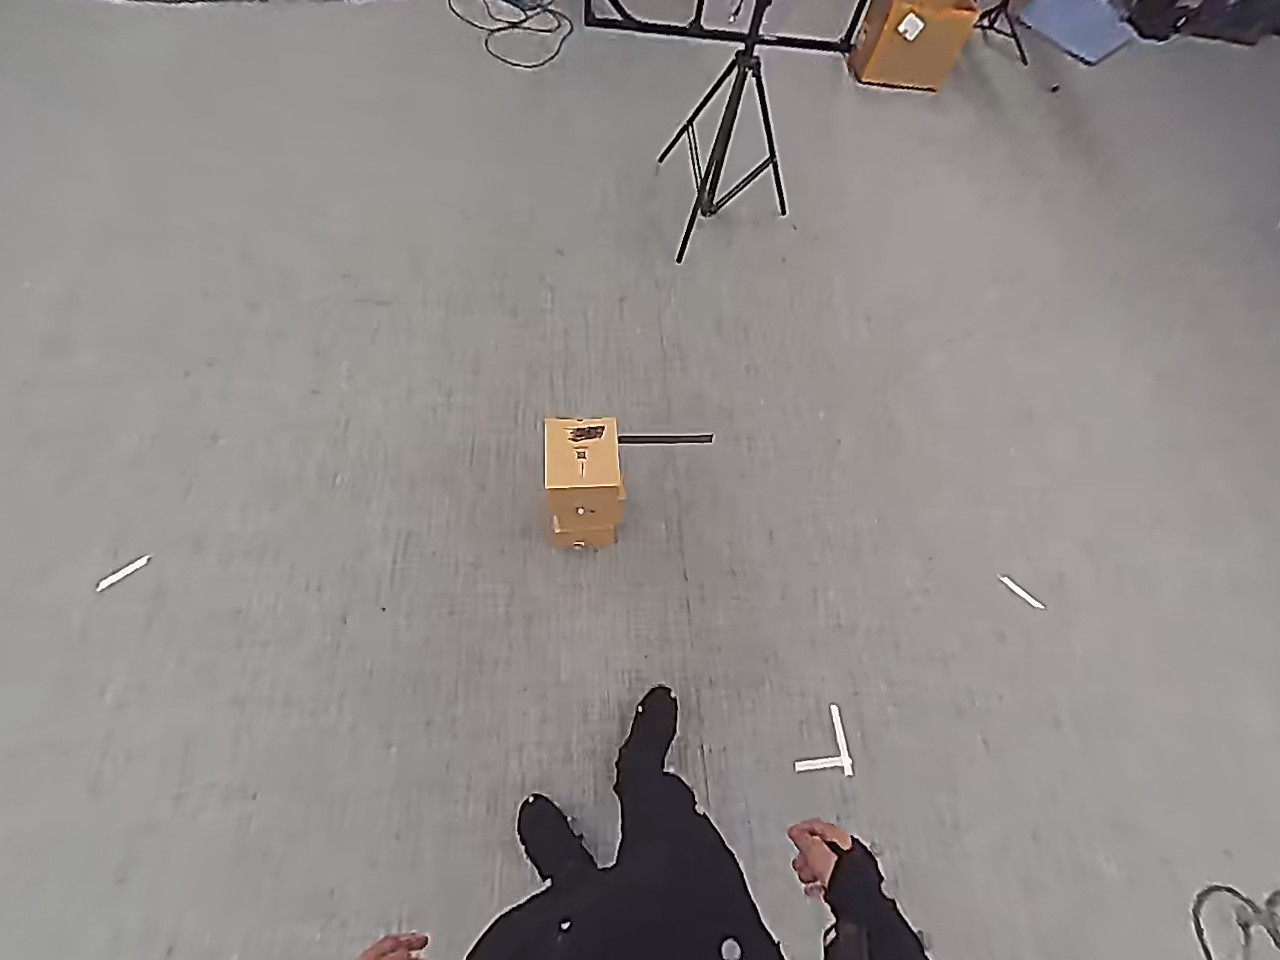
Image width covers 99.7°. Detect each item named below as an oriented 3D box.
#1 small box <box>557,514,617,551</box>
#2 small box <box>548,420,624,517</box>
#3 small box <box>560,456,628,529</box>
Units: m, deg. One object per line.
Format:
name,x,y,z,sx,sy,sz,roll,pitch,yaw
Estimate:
small box,-0.160,0.094,1.577,0.168,0.176,0.179,-4,66,-8
small box,-0.128,-0.025,1.272,0.168,0.176,0.179,-2,66,-6
small box,-0.131,0.022,1.432,0.179,0.176,0.168,-5,66,-8
